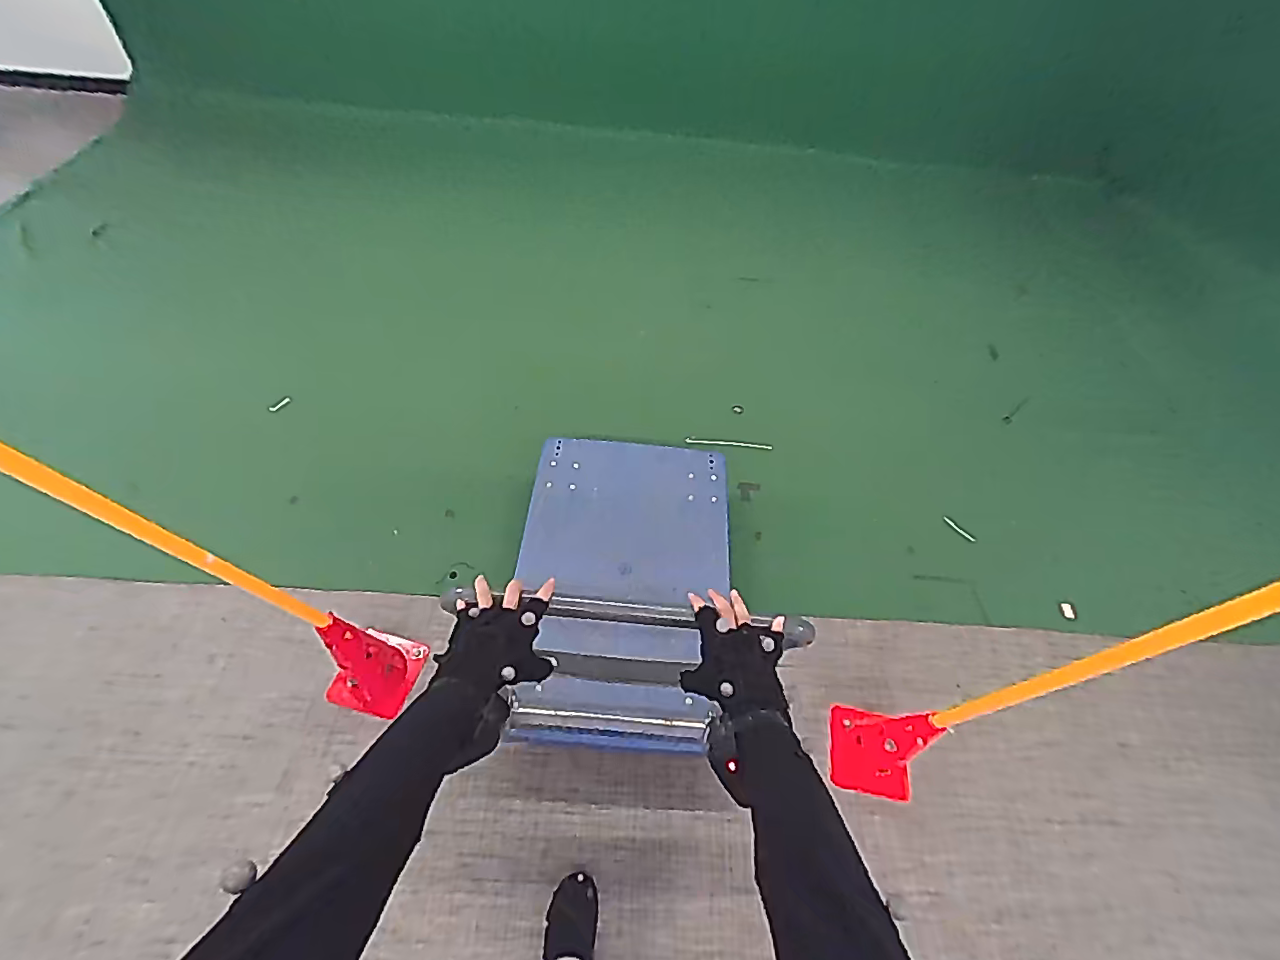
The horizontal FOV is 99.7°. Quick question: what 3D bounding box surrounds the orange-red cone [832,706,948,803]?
[{"bbox_3d":[0.602,0.598,1.246,0.198,0.360,0.199,13,55,5],"label":"orange-red cone"}]
